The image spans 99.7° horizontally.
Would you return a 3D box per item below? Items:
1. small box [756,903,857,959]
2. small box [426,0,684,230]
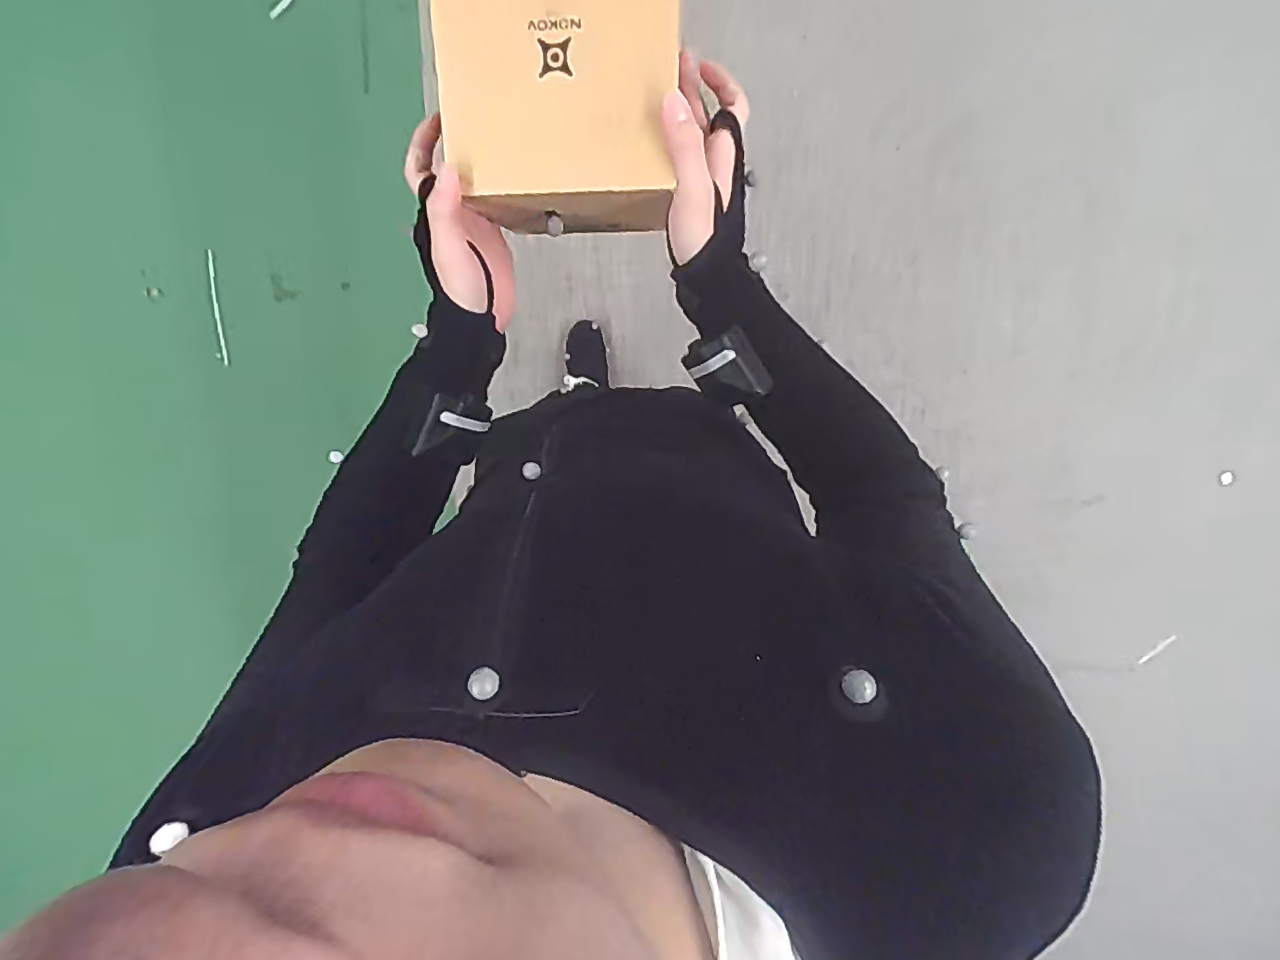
[{"bbox_3d":[0.313,0.935,1.002,0.168,0.176,0.179,-1,103,1],"label":"small box"},{"bbox_3d":[-0.050,-0.302,0.424,0.168,0.176,0.179,1,105,3],"label":"small box"}]
